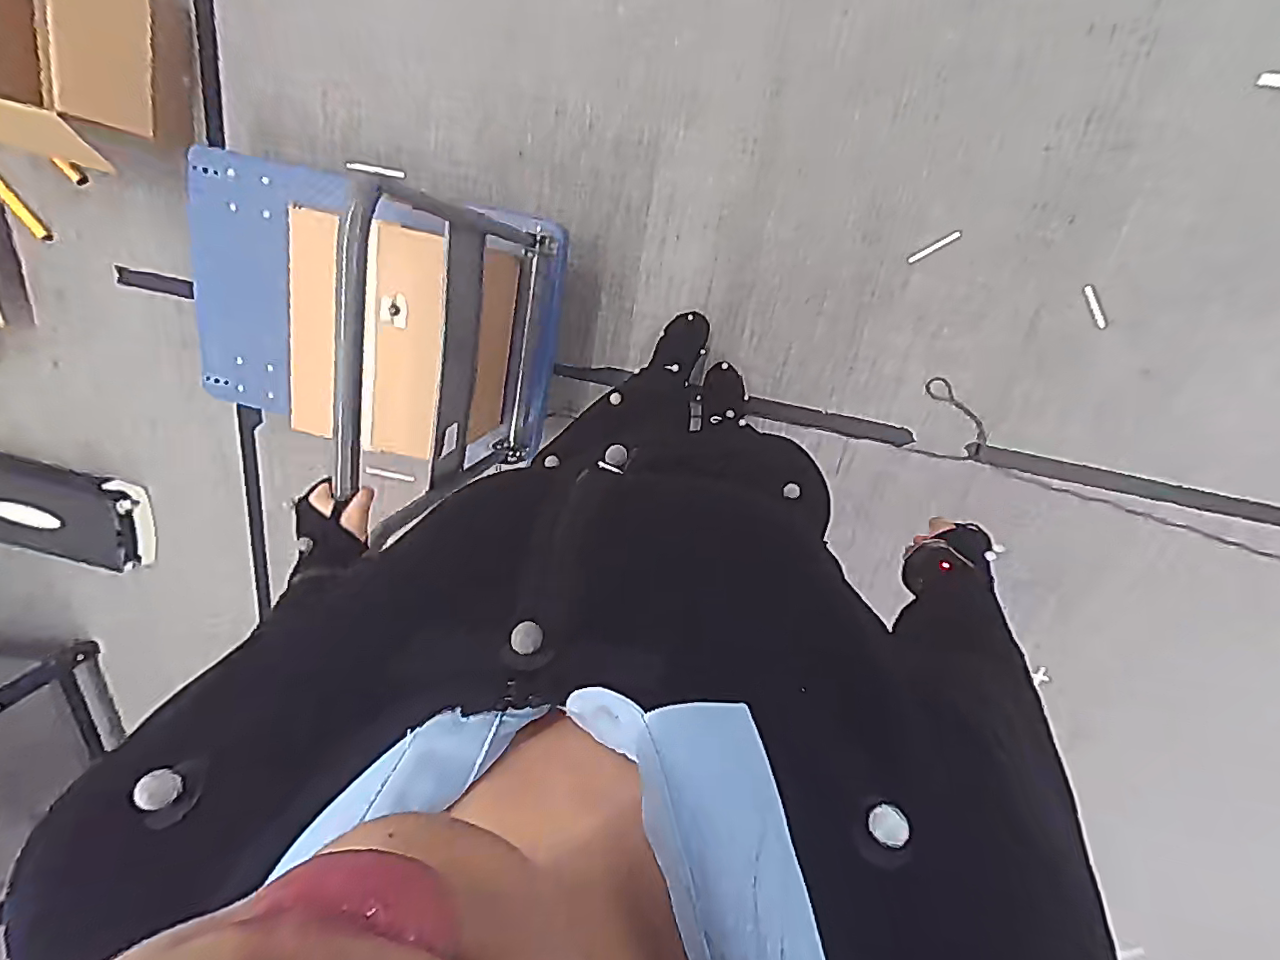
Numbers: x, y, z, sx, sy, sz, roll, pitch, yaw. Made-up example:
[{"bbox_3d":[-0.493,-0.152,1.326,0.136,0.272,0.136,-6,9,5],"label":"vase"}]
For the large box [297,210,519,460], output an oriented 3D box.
[{"bbox_3d":[-0.468,-0.295,1.133,0.320,0.320,0.408,13,108,2],"label":"large box"}]
